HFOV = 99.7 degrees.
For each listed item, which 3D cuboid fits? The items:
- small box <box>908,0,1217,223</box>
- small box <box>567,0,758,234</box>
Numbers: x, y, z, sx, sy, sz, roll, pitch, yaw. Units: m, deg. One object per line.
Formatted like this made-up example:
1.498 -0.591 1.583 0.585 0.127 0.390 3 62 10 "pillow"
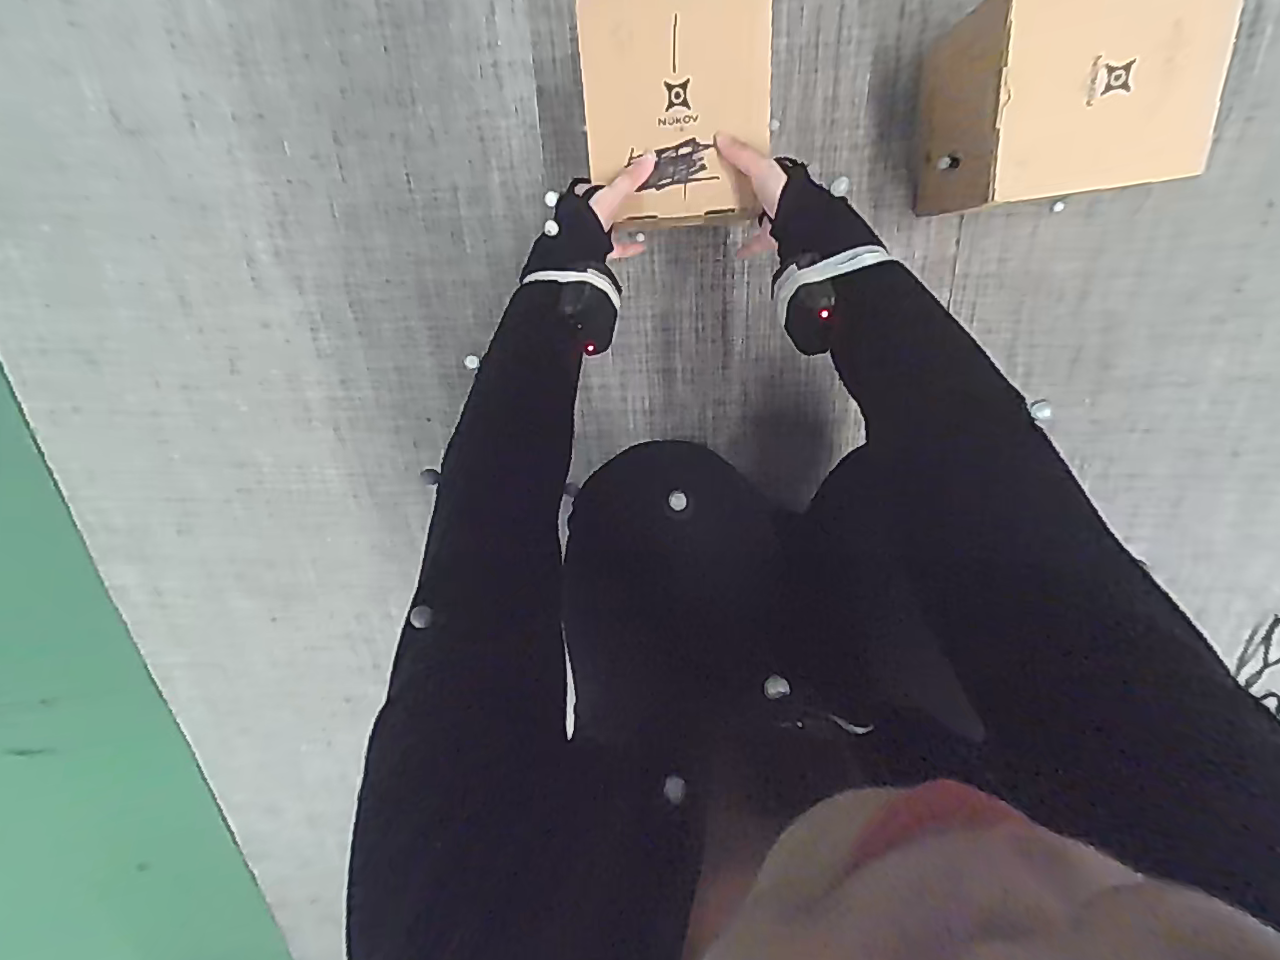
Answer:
0.383 -0.355 0.530 0.179 0.176 0.168 -4 111 6 "small box"
0.030 -0.356 0.561 0.168 0.176 0.179 -2 110 6 "small box"
